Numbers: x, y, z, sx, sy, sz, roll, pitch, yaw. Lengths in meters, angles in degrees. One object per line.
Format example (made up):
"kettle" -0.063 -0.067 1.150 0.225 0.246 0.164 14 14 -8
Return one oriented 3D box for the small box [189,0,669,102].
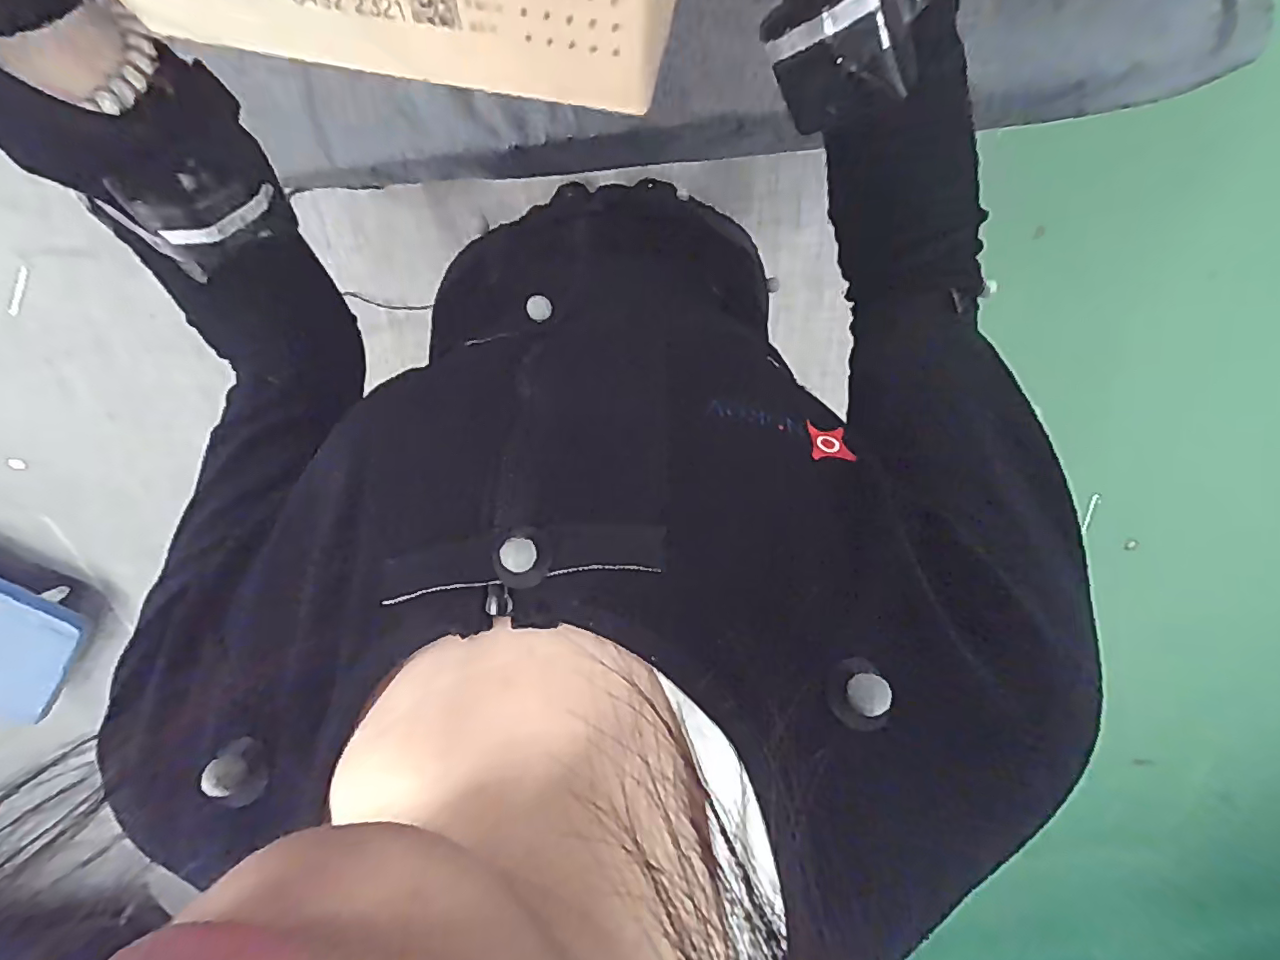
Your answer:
"small box" -0.058 -0.241 0.126 0.168 0.179 0.176 12 163 2
